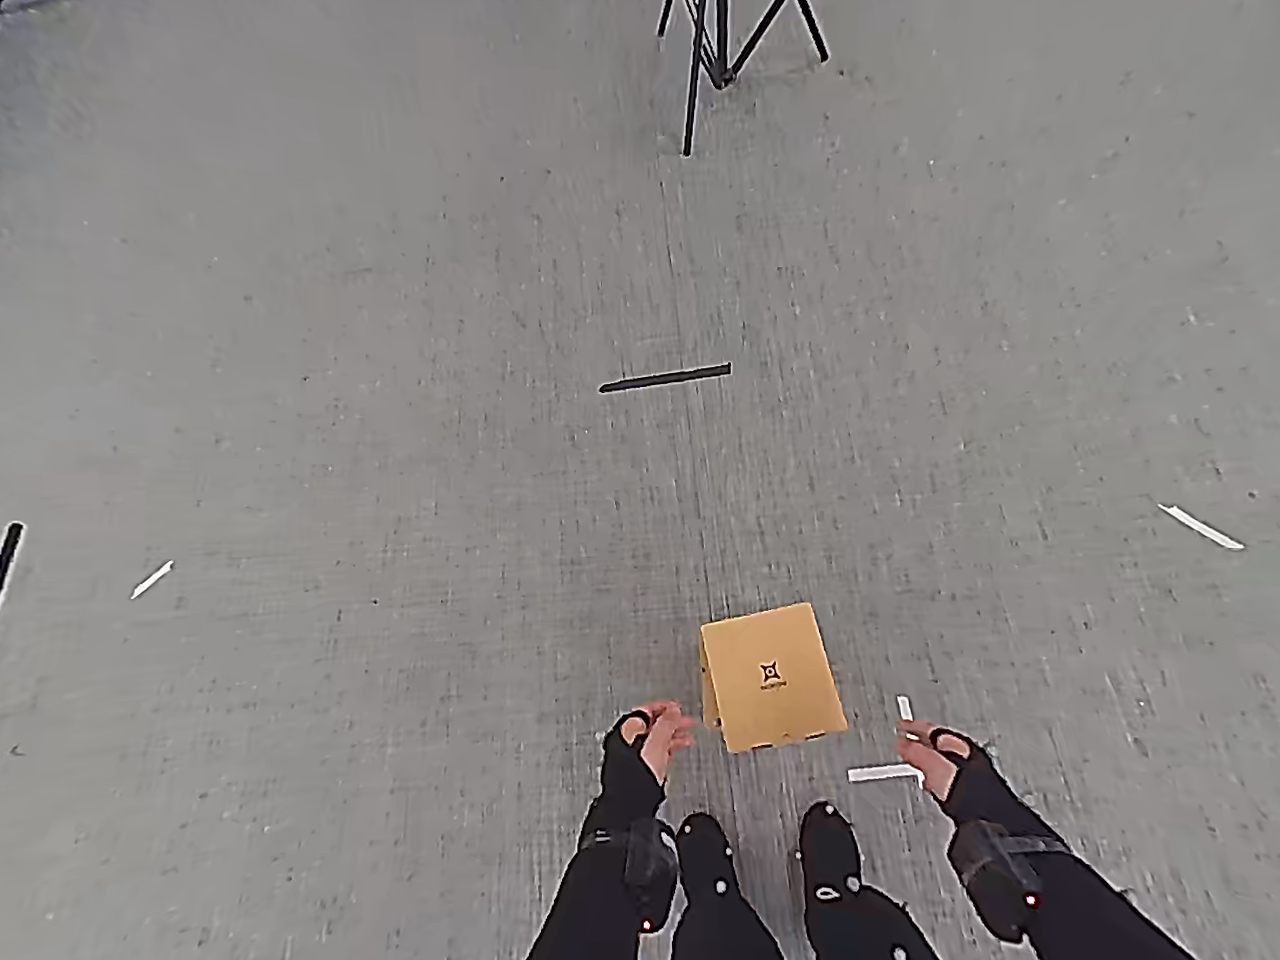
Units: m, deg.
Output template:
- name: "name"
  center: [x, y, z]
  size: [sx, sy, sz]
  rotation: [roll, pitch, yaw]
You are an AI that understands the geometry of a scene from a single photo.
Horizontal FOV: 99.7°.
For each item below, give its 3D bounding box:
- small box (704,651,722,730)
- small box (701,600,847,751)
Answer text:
- name: "small box"
  center: [0.200, 0.352, 0.978]
  size: [0.168, 0.176, 0.179]
  rotation: [-3, 71, 8]
- name: "small box"
  center: [0.191, 0.296, 0.825]
  size: [0.168, 0.176, 0.179]
  rotation: [-14, 70, 4]
